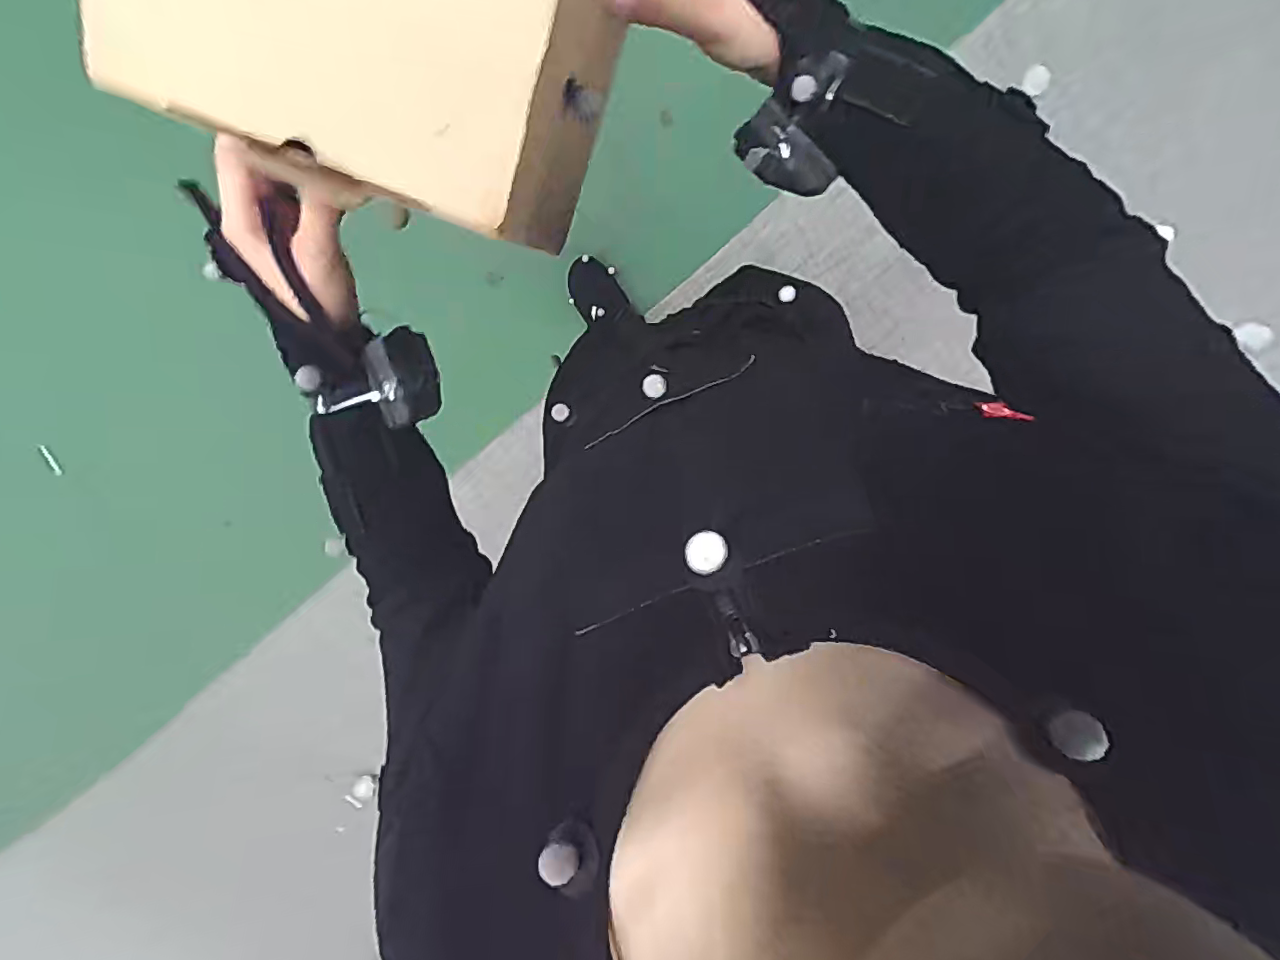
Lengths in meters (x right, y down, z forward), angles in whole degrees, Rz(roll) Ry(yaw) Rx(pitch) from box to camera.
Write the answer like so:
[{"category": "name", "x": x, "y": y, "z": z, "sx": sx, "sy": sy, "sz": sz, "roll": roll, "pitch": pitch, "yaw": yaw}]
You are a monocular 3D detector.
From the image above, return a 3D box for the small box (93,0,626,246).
[{"category": "small box", "x": -0.108, "y": -0.231, "z": 0.269, "sx": 0.168, "sy": 0.176, "sz": 0.179, "roll": 19, "pitch": 110, "yaw": -6}]
